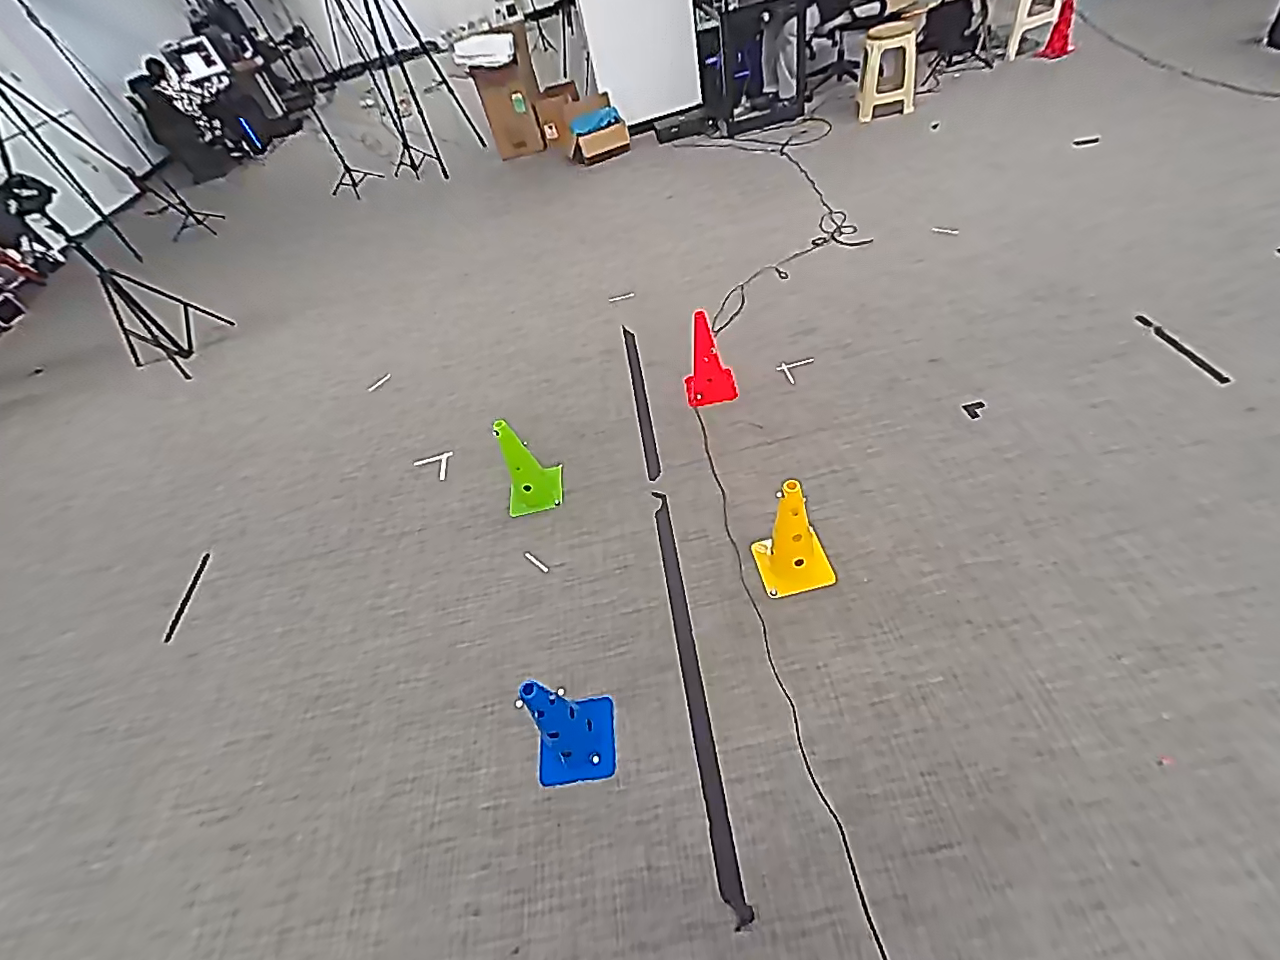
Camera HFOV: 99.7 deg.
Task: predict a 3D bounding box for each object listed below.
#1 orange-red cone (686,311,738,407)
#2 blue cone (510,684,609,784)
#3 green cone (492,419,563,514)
[{"bbox_3d":[0.258,-0.485,2.079,0.199,0.360,0.198,-9,49,7],"label":"orange-red cone"},{"bbox_3d":[-0.209,0.570,1.287,0.192,0.380,0.193,-11,47,8],"label":"blue cone"},{"bbox_3d":[-0.424,-0.076,1.904,0.202,0.368,0.200,-14,47,5],"label":"green cone"}]
